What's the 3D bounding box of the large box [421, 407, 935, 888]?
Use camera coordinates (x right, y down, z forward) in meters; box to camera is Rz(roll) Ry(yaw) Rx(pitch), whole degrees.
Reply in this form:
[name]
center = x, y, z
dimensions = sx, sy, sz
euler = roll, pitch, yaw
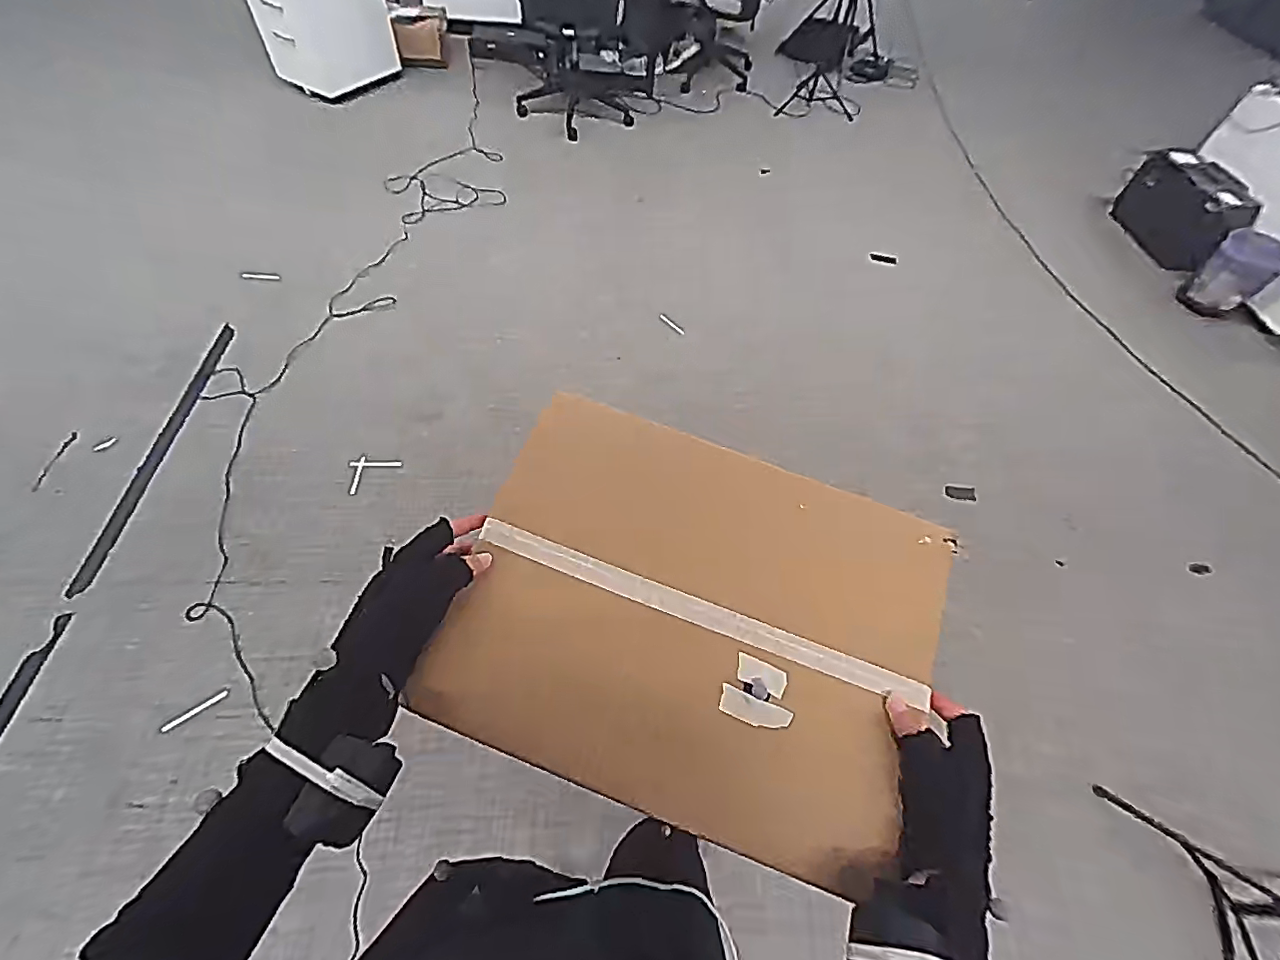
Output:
[large box]
center = 0.042, 0.174, 0.625
dimensions = 0.408, 0.320, 0.320
euler = 21, 70, 5
